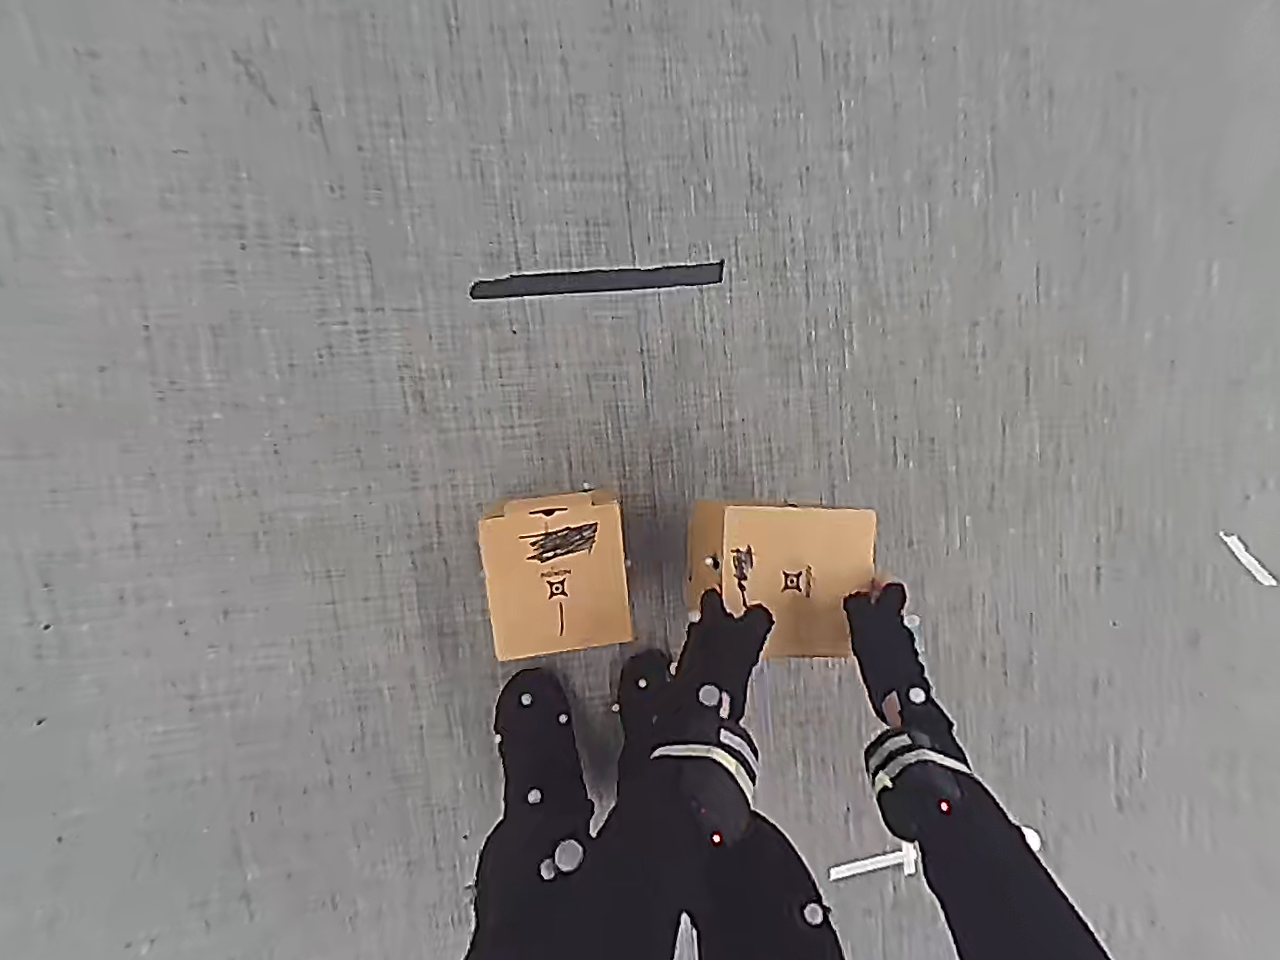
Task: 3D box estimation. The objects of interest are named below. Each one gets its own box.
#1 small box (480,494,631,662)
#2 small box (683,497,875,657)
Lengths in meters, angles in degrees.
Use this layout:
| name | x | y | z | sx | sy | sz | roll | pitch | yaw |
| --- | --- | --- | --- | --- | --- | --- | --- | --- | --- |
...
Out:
| name | x | y | z | sx | sy | sz | roll | pitch | yaw |
| --- | --- | --- | --- | --- | --- | --- | --- | --- | --- |
| small box | -0.109 | 0.114 | 0.713 | 0.168 | 0.176 | 0.179 | -6 | 96 | -7 |
| small box | 0.160 | 0.108 | 0.666 | 0.179 | 0.176 | 0.168 | 2 | 90 | -8 |
